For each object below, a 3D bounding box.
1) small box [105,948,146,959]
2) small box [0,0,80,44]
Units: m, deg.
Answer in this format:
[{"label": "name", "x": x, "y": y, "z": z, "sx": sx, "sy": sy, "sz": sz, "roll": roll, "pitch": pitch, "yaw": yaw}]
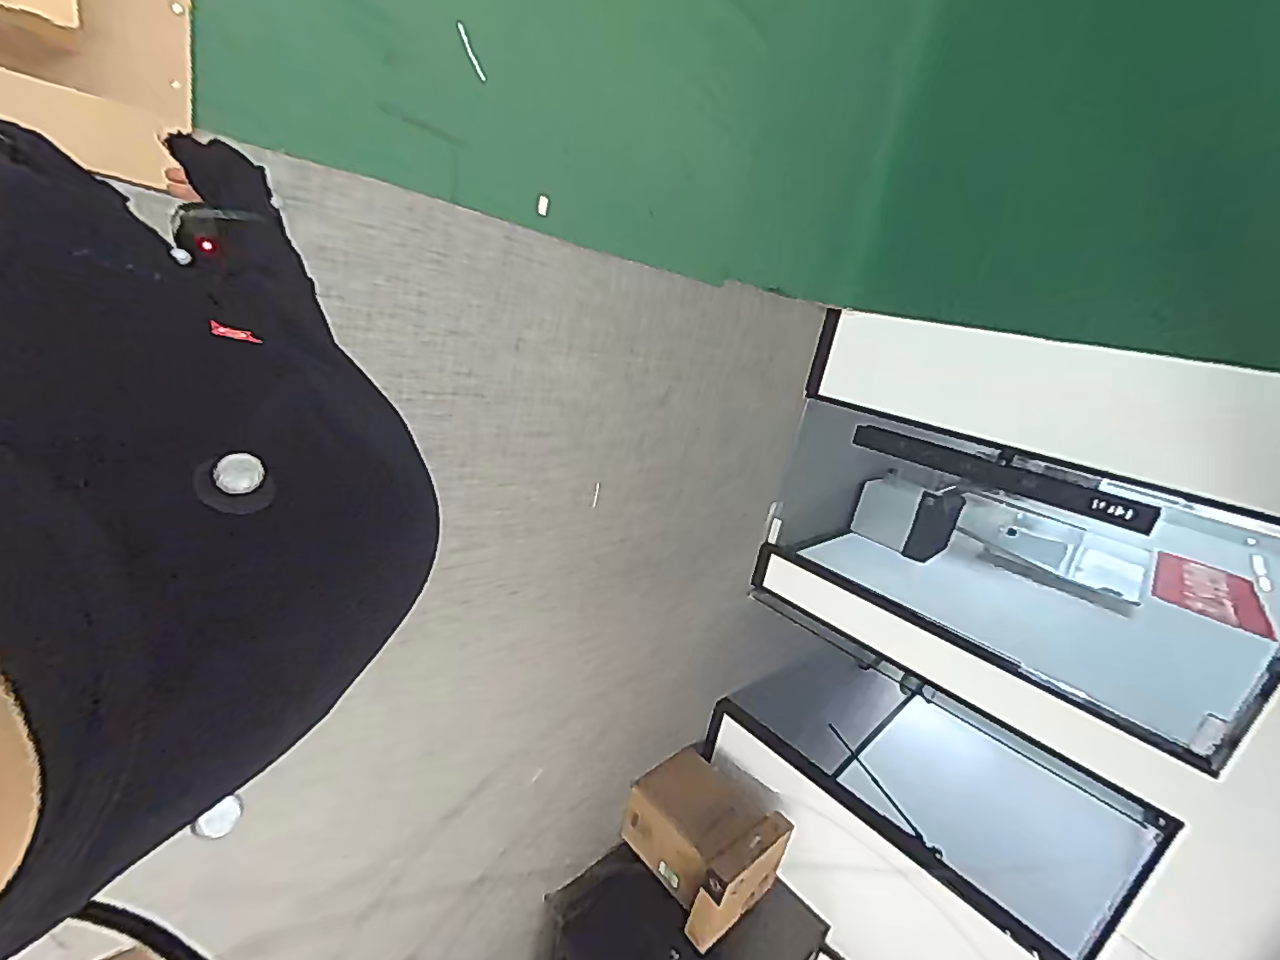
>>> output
[{"label": "small box", "x": -1.420, "y": 1.401, "z": 1.430, "sx": 0.168, "sy": 0.176, "sz": 0.179, "roll": 2, "pitch": 108, "yaw": -47}, {"label": "small box", "x": -0.921, "y": -0.767, "z": 0.765, "sx": 0.168, "sy": 0.176, "sz": 0.179, "roll": -5, "pitch": 115, "yaw": -45}]
